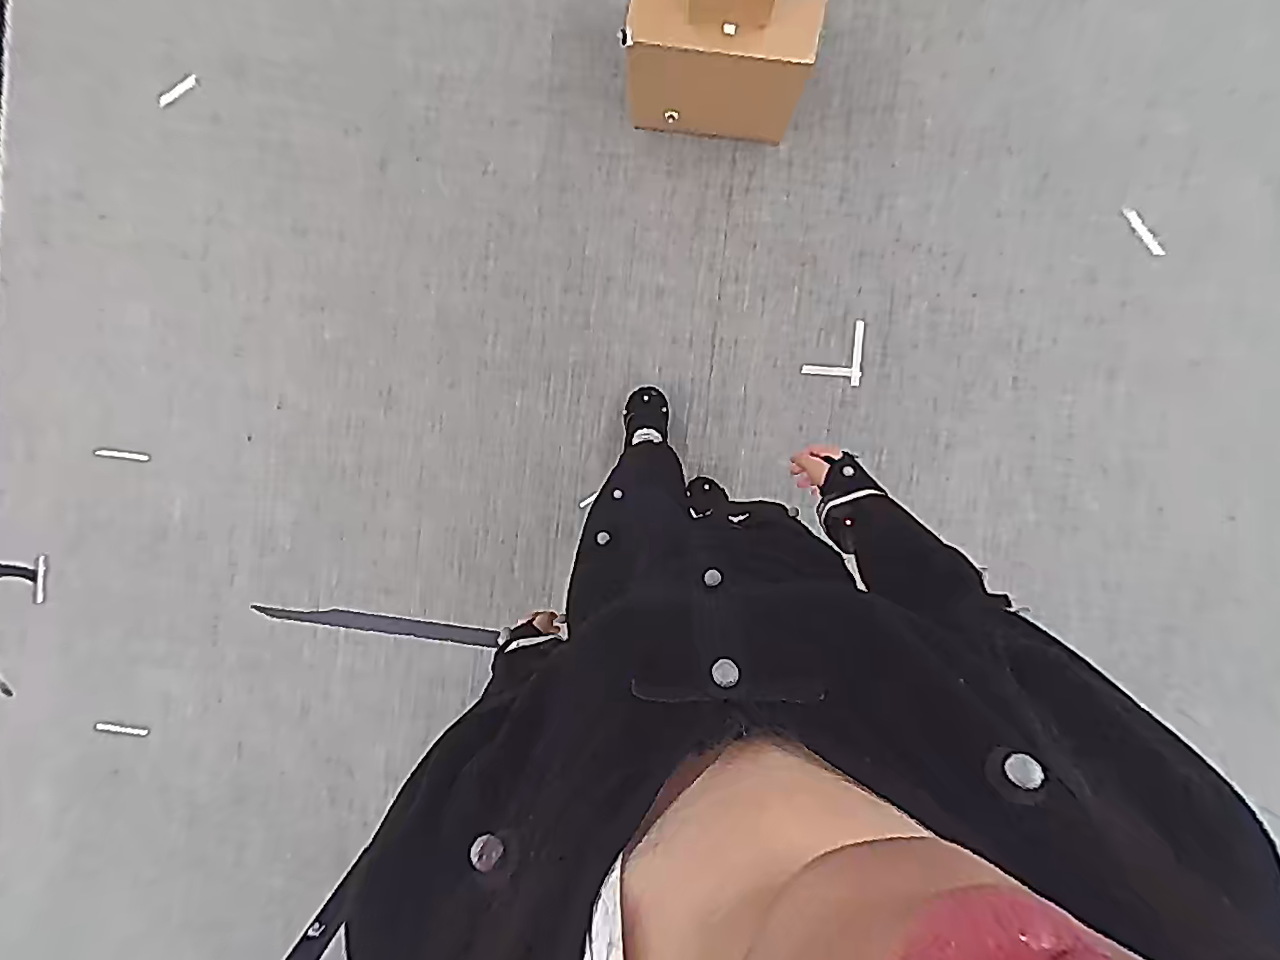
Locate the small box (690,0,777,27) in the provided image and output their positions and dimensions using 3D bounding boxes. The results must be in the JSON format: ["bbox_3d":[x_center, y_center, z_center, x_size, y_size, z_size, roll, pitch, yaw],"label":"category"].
[{"bbox_3d":[0.194,-1.027,1.046,0.179,0.176,0.168,6,94,1],"label":"small box"}]
